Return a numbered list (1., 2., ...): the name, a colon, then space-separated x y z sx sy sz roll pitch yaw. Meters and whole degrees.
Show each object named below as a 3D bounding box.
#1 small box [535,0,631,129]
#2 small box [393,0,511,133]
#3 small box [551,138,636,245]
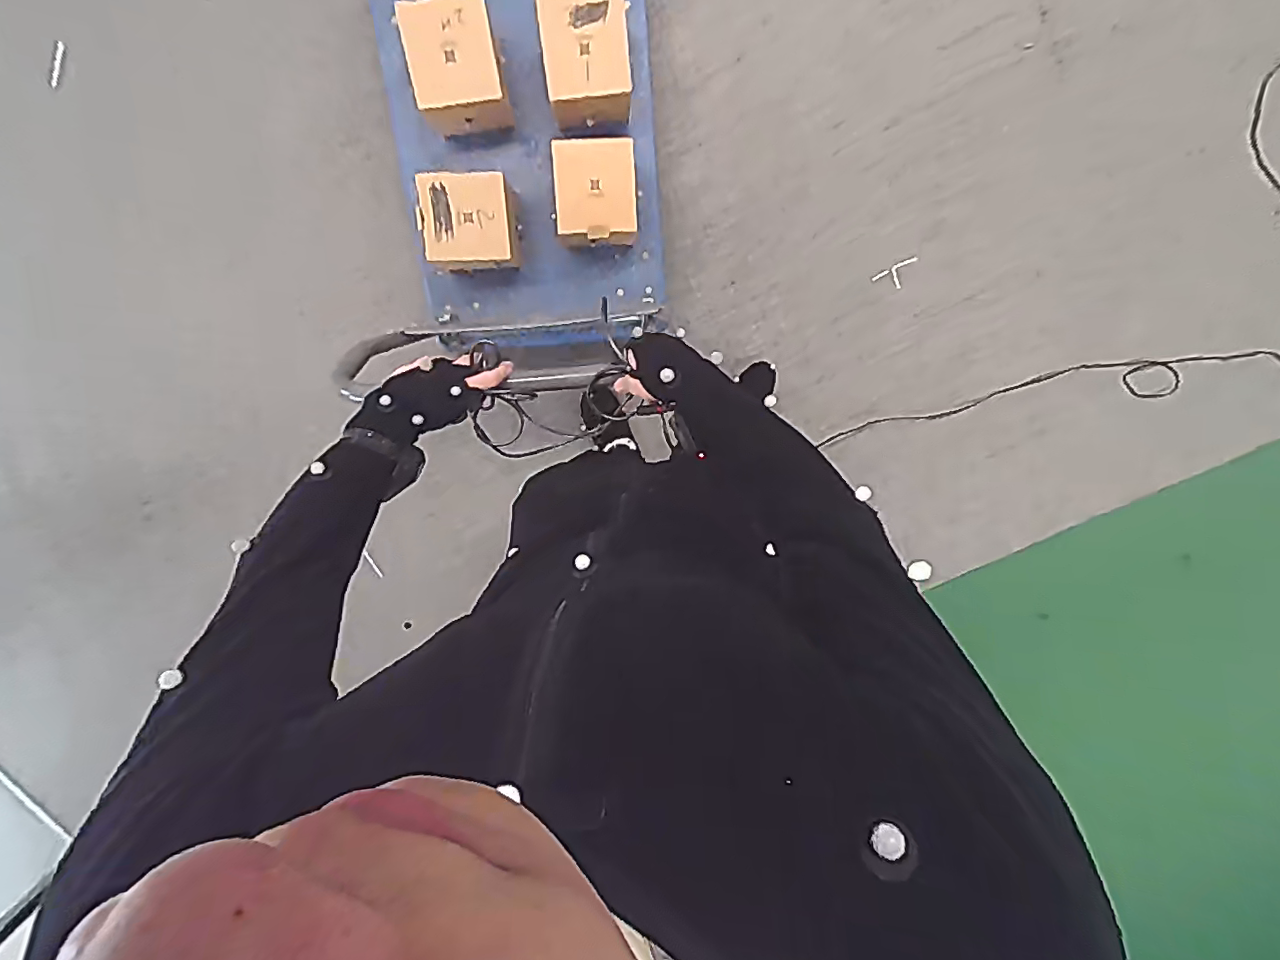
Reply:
1. small box: -0.111 -0.849 1.100 0.168 0.176 0.179 -7 107 0
2. small box: -0.367 -0.826 1.093 0.168 0.176 0.179 -9 107 -1
3. small box: -0.099 -0.617 1.174 0.168 0.176 0.179 -4 108 -2
